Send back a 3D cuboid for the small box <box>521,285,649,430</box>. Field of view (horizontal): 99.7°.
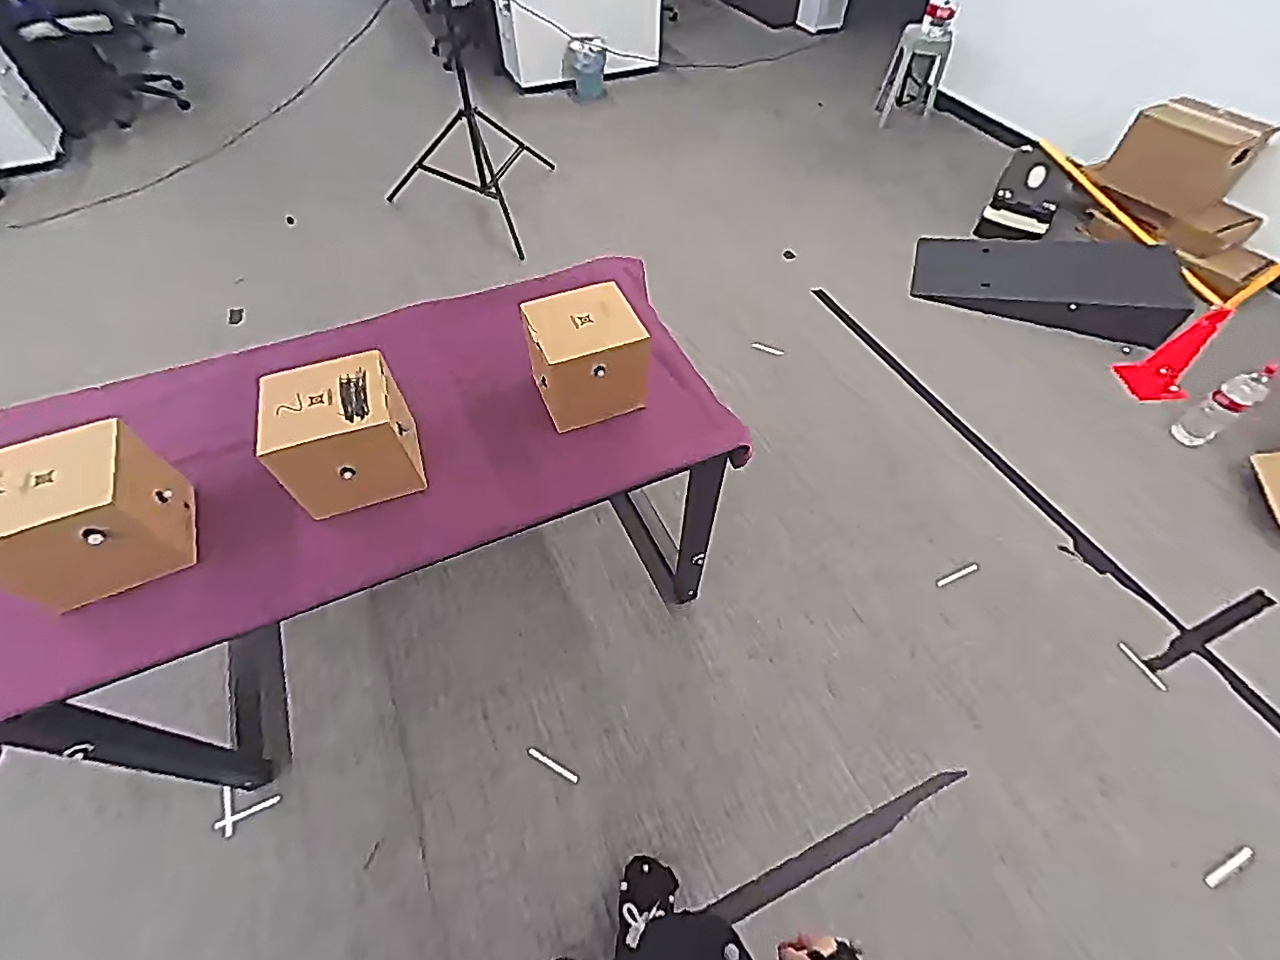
[{"bbox_3d":[-0.094,-0.213,0.962,0.179,0.176,0.168,-19,57,-15],"label":"small box"}]

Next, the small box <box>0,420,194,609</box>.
[{"bbox_3d":[-0.769,0.051,0.758,0.179,0.176,0.168,-22,56,-16],"label":"small box"}]
